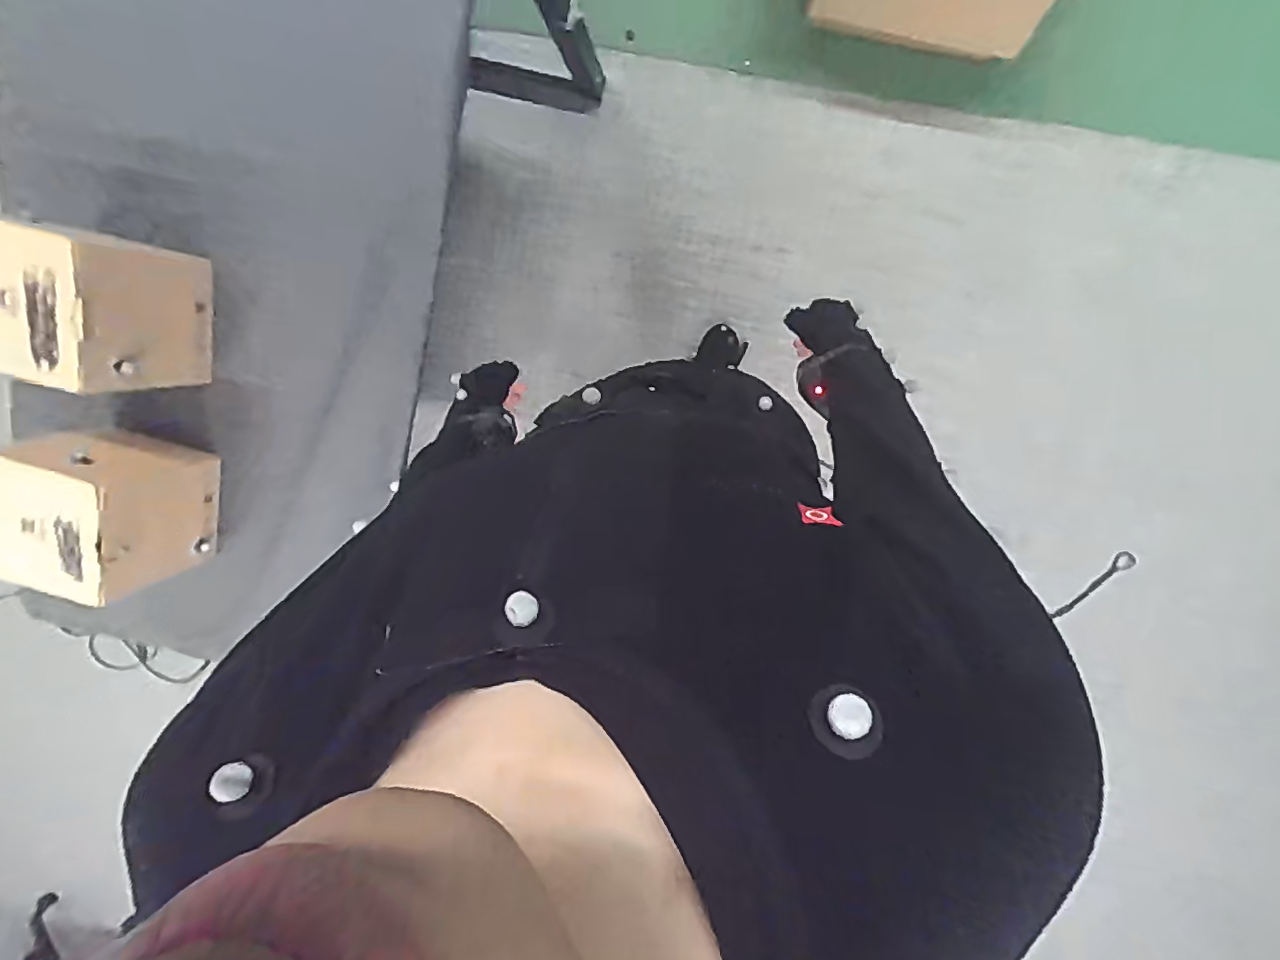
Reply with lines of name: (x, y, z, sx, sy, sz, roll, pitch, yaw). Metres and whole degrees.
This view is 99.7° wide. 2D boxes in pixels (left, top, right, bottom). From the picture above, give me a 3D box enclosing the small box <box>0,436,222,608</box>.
small box: (-0.716, 0.045, 0.737, 0.179, 0.176, 0.168, 15, 104, 3)
